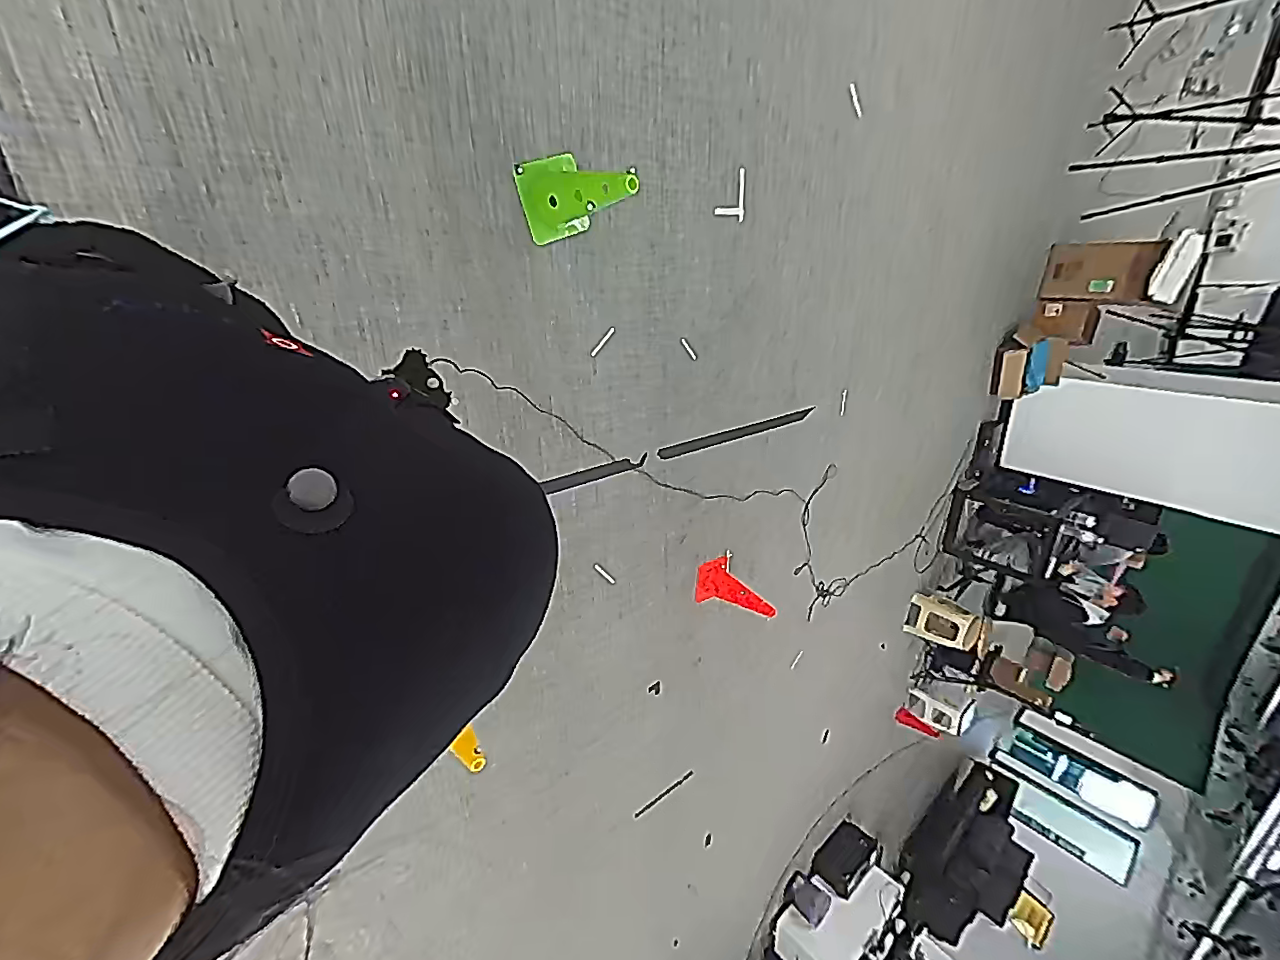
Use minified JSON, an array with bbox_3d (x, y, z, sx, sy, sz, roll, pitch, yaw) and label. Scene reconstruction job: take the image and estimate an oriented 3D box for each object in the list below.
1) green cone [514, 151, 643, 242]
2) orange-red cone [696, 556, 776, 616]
[{"bbox_3d":[-0.129,-0.736,1.377,0.202,0.368,0.200,-35,127,-29],"label":"green cone"},{"bbox_3d":[0.441,0.503,2.372,0.199,0.360,0.198,-9,112,-38],"label":"orange-red cone"}]
